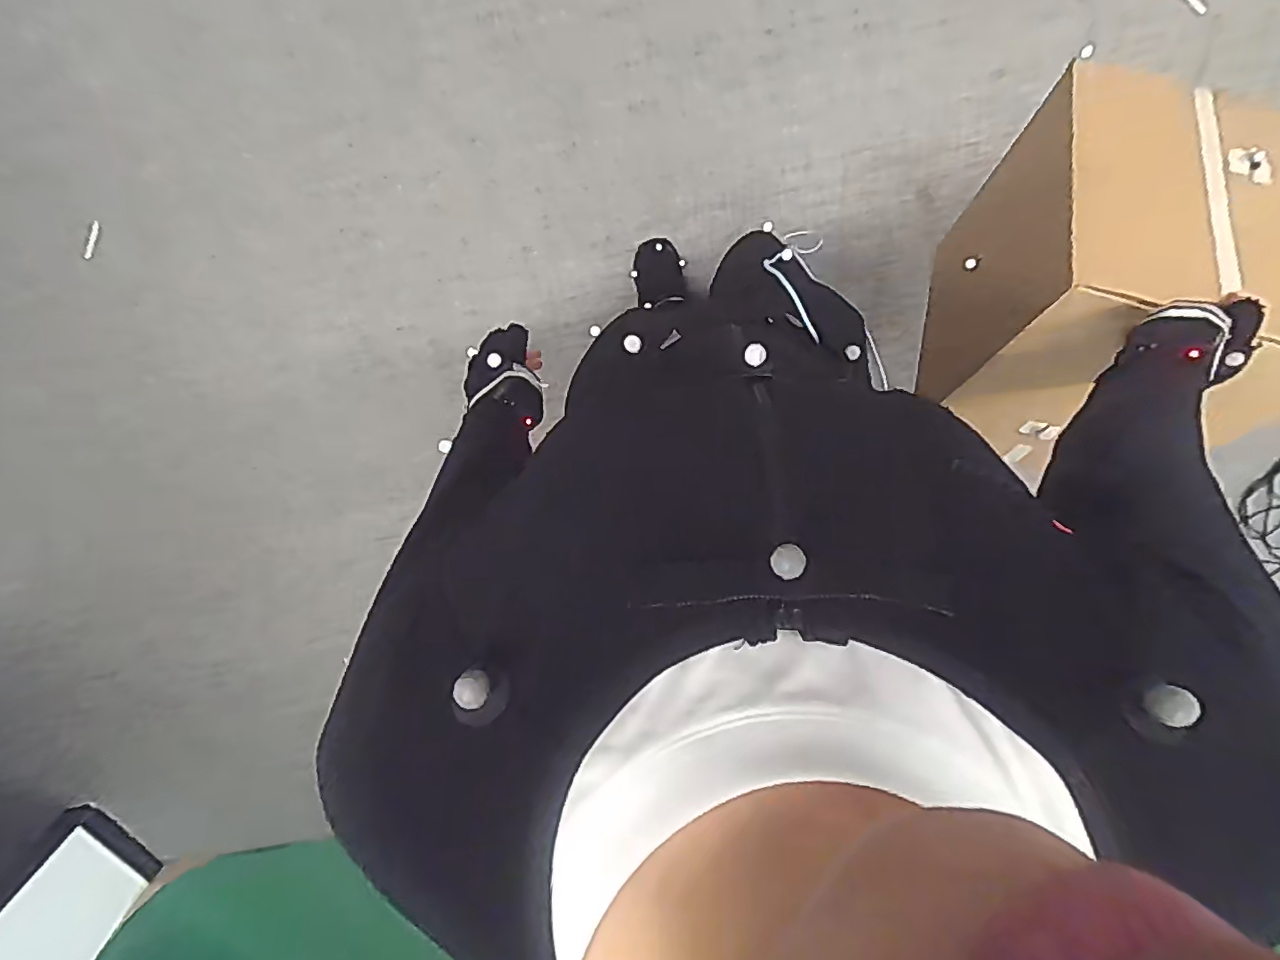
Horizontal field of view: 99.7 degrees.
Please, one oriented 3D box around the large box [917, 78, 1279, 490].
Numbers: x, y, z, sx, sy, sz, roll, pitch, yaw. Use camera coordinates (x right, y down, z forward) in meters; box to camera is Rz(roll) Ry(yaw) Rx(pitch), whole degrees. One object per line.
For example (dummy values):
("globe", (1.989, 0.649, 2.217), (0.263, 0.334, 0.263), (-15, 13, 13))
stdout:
("large box", (0.630, -0.253, 0.758), (0.320, 0.408, 0.320), (19, 156, 3))
